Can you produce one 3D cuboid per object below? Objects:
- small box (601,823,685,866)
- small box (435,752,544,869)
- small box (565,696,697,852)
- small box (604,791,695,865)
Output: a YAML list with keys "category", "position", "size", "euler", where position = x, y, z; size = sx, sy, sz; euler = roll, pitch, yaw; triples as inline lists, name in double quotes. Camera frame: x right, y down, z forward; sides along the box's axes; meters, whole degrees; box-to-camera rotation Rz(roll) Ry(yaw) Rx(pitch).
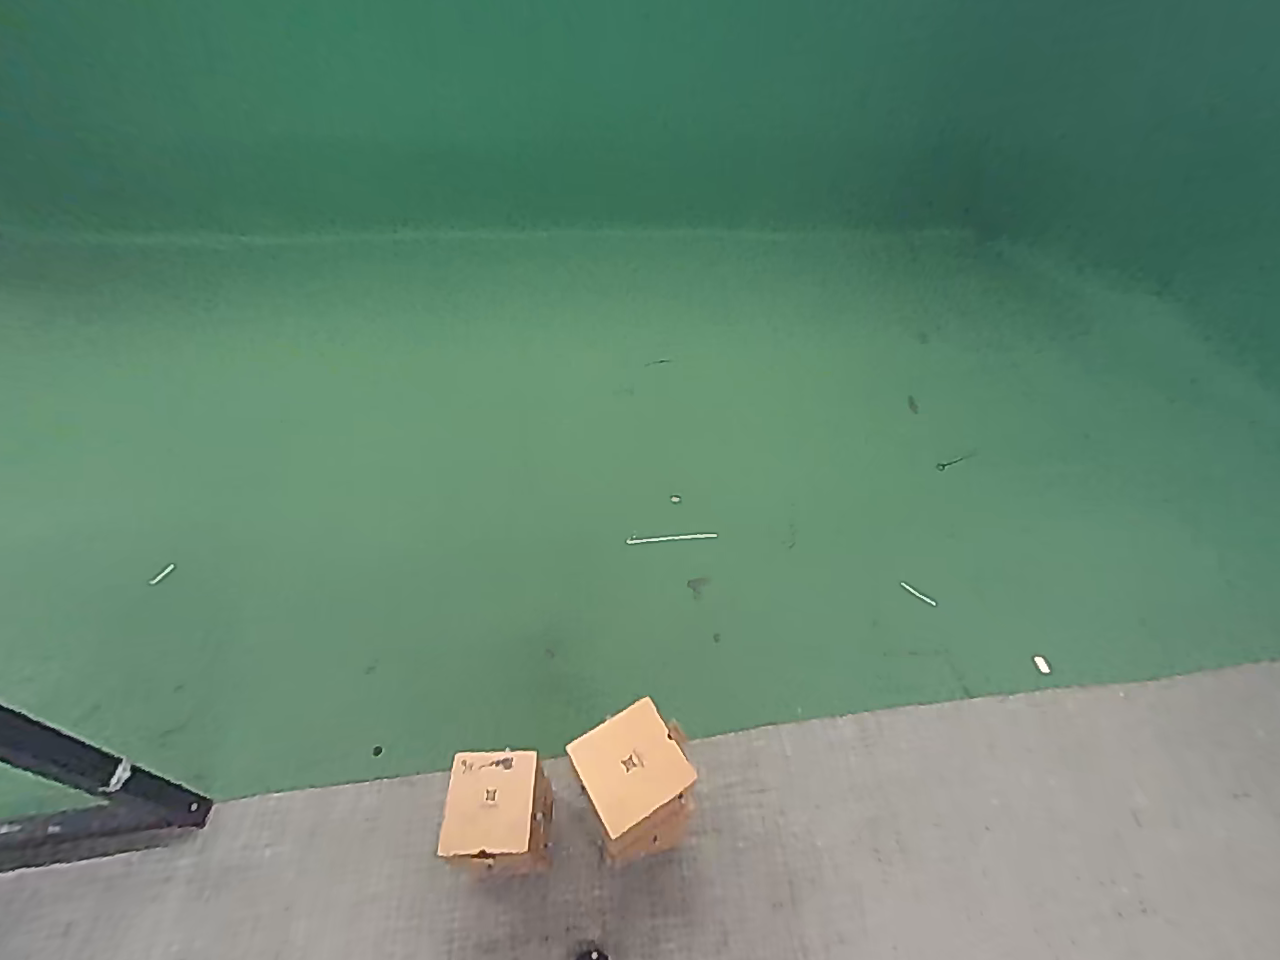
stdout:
- category: "small box"
  position: [-0.009, 0.748, 1.227]
  size: [0.179, 0.176, 0.168]
  euler: [-9, 49, -12]
- category: "small box"
  position: [-0.286, 0.658, 1.072]
  size: [0.168, 0.176, 0.179]
  euler: [0, 47, -2]
- category: "small box"
  position: [-0.019, 0.535, 0.980]
  size: [0.179, 0.176, 0.168]
  euler: [-23, 54, -23]
- category: "small box"
  position: [-0.009, 0.647, 1.100]
  size: [0.179, 0.176, 0.168]
  euler: [-20, 53, -21]
